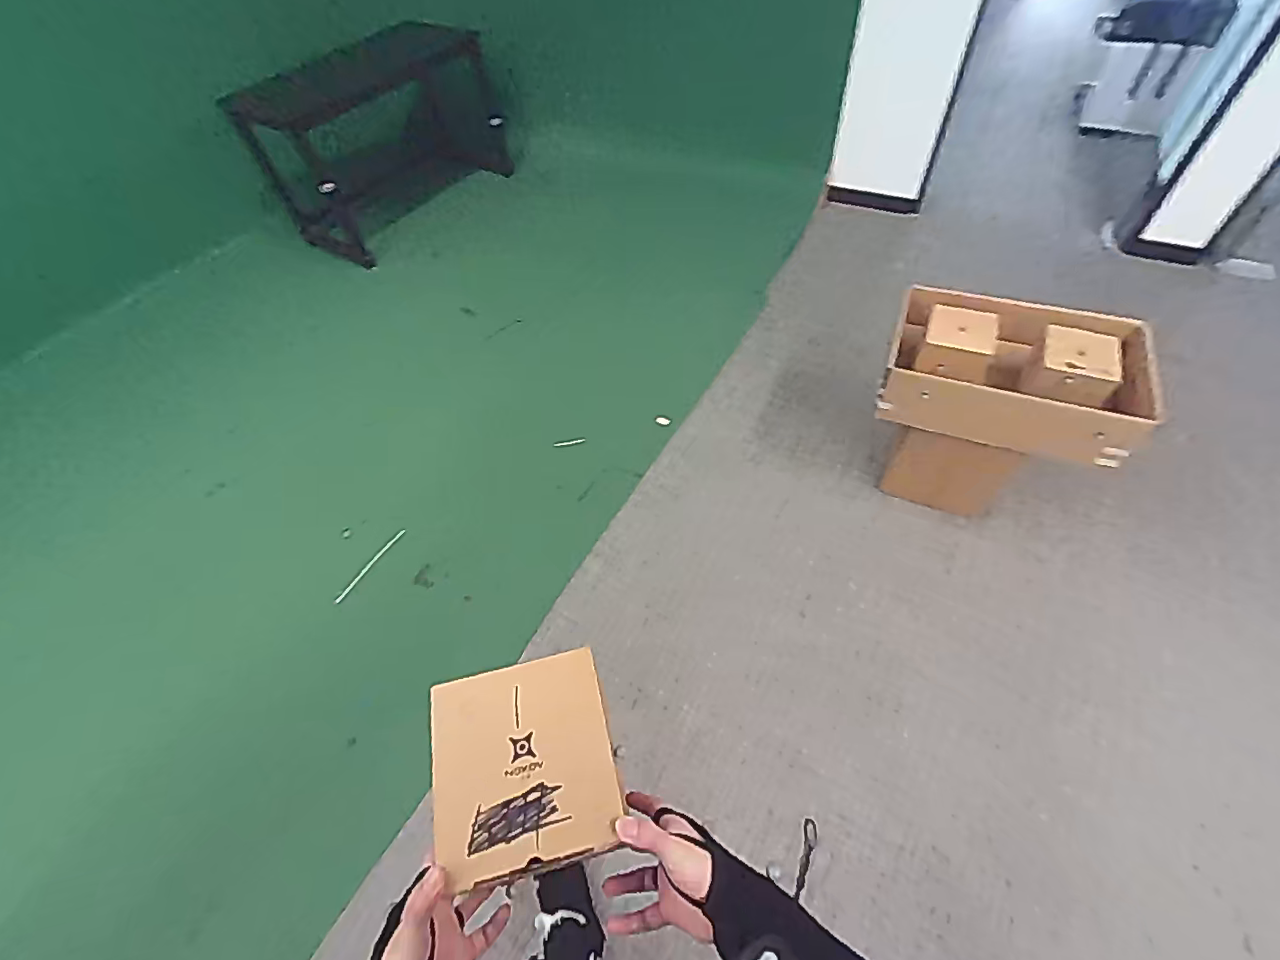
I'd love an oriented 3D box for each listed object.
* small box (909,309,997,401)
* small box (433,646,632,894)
[{"bbox_3d":[0.877,-0.350,1.526,0.168,0.176,0.179,17,56,18],"label":"small box"},{"bbox_3d":[-0.104,0.297,0.558,0.168,0.176,0.179,-11,54,-7],"label":"small box"}]
